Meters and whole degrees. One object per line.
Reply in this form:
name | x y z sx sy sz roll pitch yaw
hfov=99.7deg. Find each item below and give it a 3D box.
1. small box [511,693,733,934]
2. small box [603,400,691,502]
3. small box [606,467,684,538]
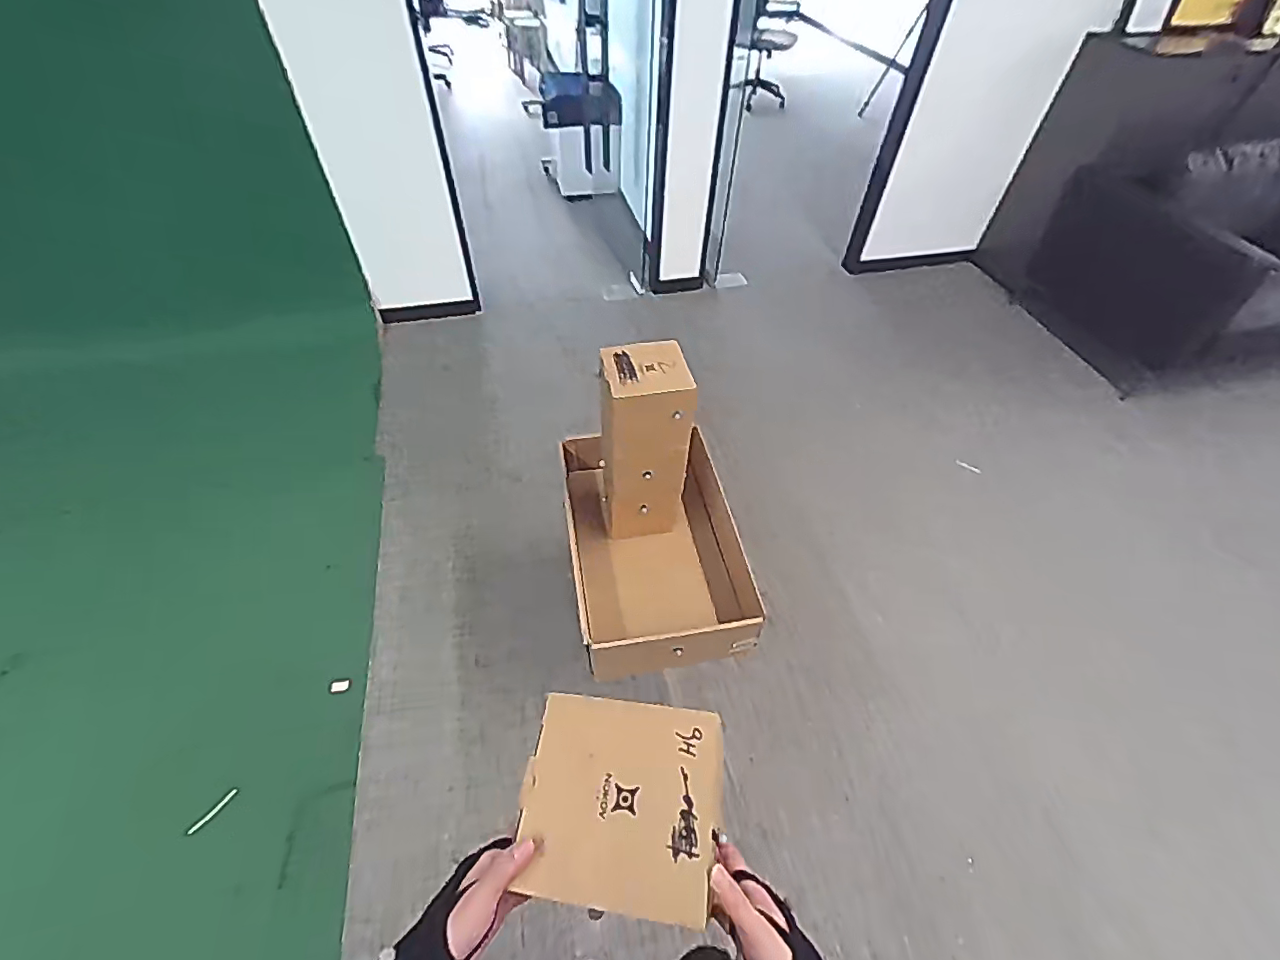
small box | -0.001 0.332 0.550 0.179 0.176 0.168 3 56 13
small box | 0.010 -0.067 1.294 0.179 0.176 0.168 -9 51 -9
small box | 0.005 0.034 1.422 0.179 0.176 0.168 -7 51 -8
